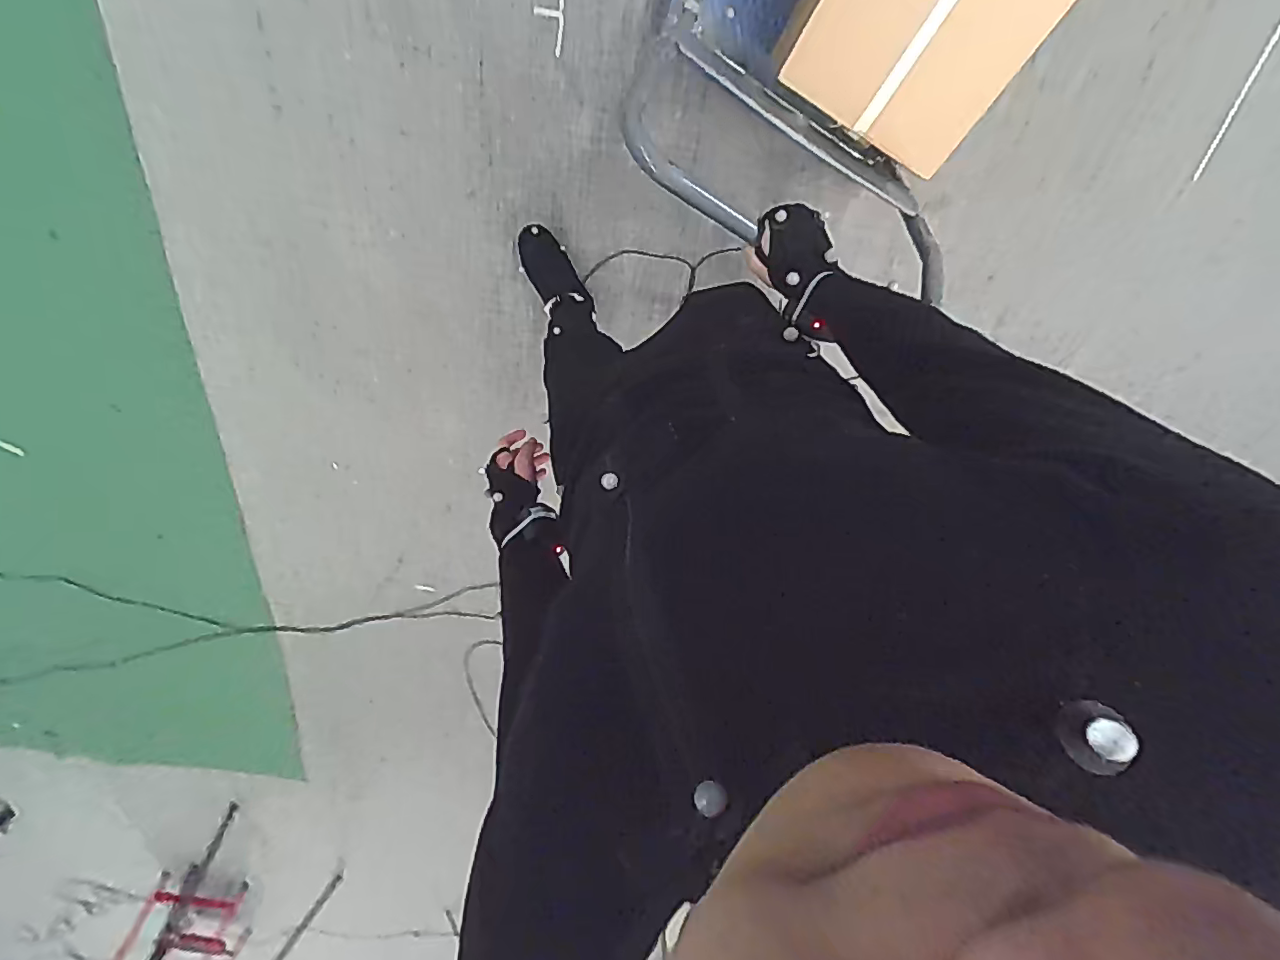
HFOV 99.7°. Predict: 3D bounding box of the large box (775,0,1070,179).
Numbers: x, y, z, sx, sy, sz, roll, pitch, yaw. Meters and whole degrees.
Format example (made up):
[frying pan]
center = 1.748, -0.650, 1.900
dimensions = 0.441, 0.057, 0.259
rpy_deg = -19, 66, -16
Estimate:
[large box]
center = 0.464, -0.796, 0.879
dimensions = 0.320, 0.320, 0.408
rpy_deg = 25, 131, -13
